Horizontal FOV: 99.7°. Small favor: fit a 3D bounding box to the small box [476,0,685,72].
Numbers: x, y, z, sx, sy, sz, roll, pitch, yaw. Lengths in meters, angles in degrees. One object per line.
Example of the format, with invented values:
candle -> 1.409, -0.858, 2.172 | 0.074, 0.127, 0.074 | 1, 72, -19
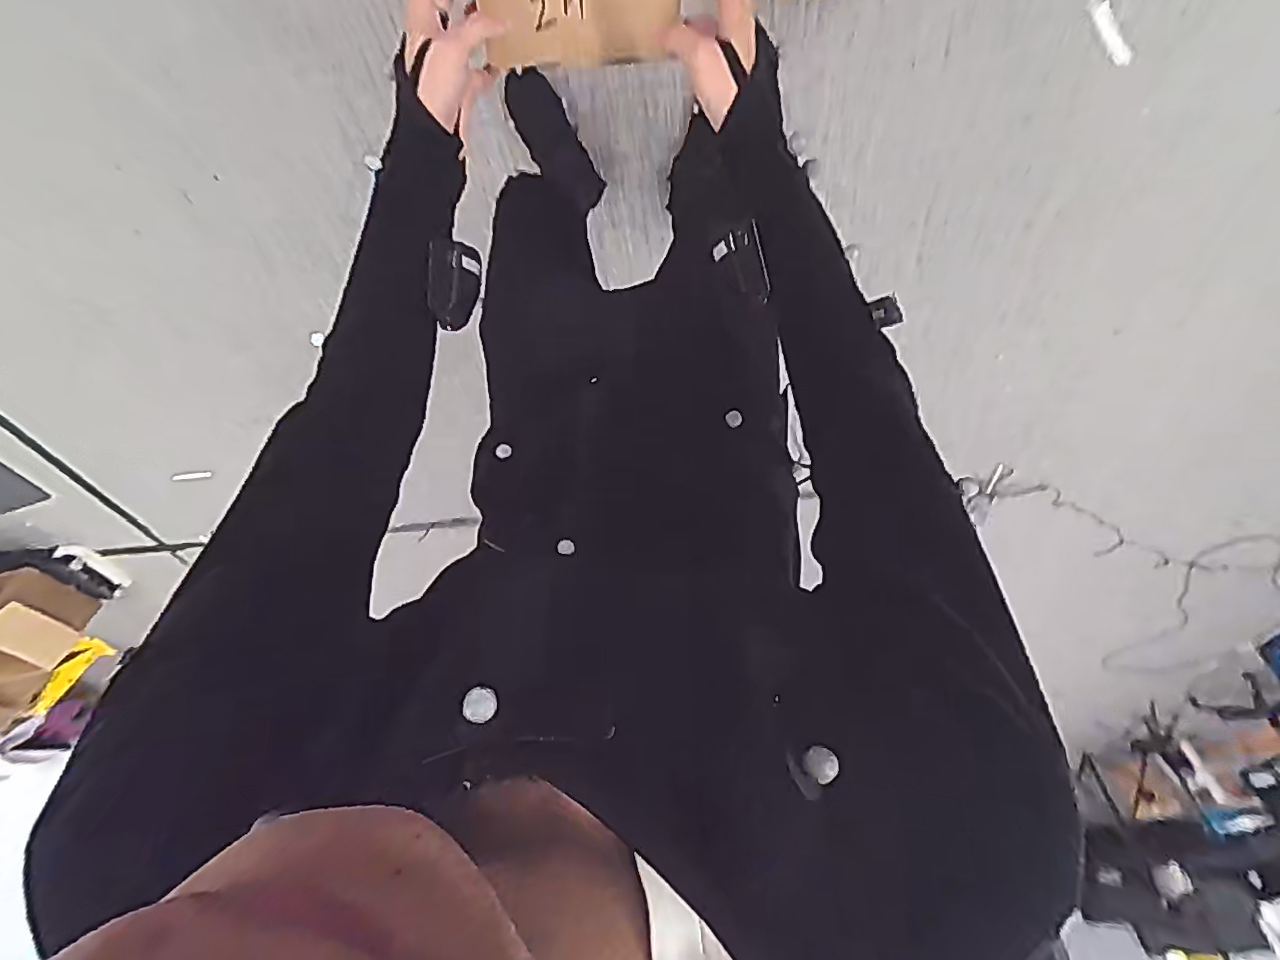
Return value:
small box -> -0.052, -0.461, 0.438 | 0.168, 0.176, 0.179 | -4, 141, -2
